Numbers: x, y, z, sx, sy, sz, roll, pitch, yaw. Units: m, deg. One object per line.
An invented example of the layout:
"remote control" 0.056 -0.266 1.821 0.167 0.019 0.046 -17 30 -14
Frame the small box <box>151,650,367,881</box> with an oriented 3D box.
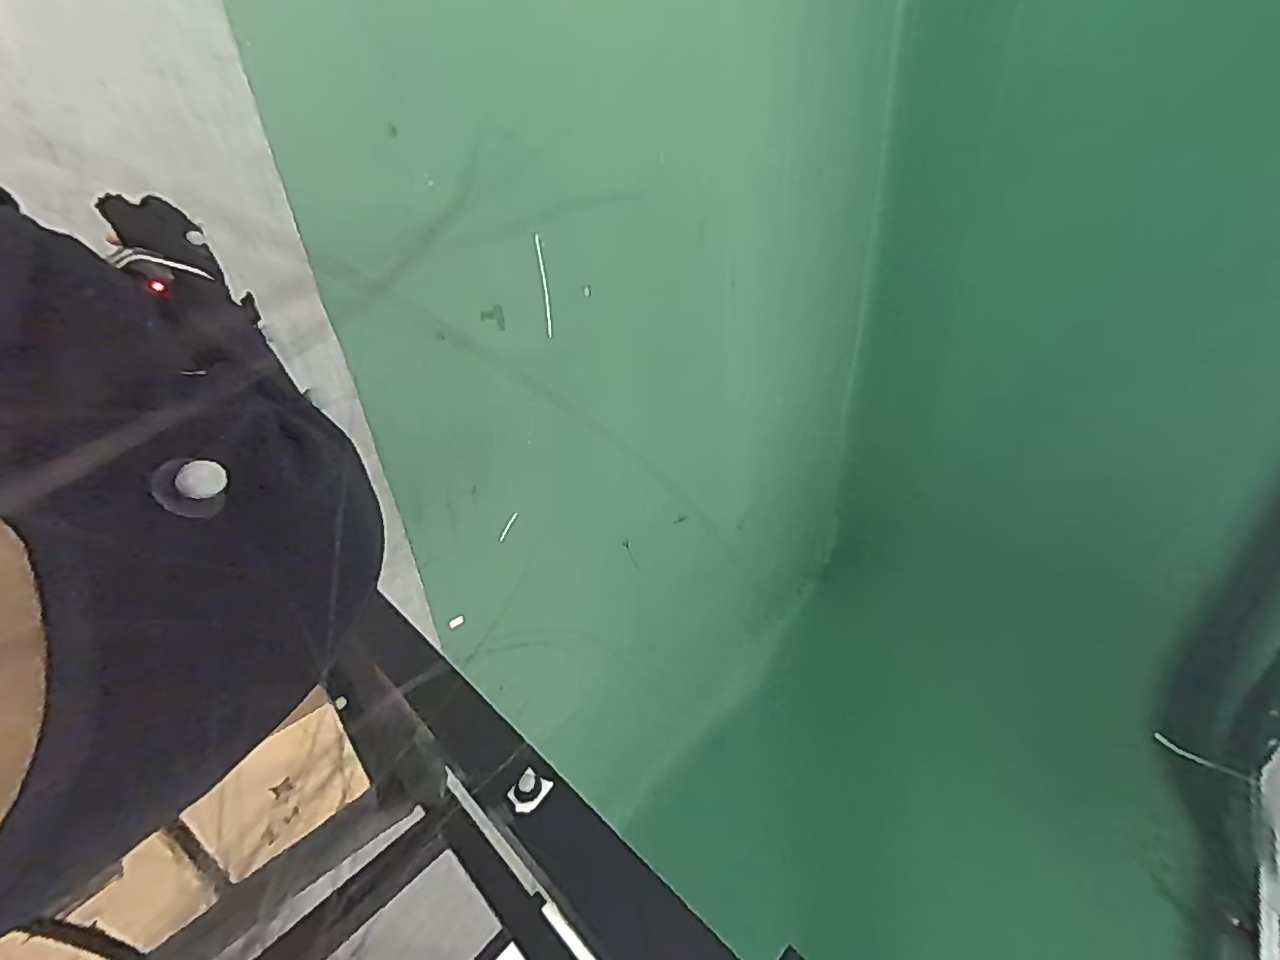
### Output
"small box" -0.490 0.348 0.699 0.168 0.176 0.179 -27 127 -37
